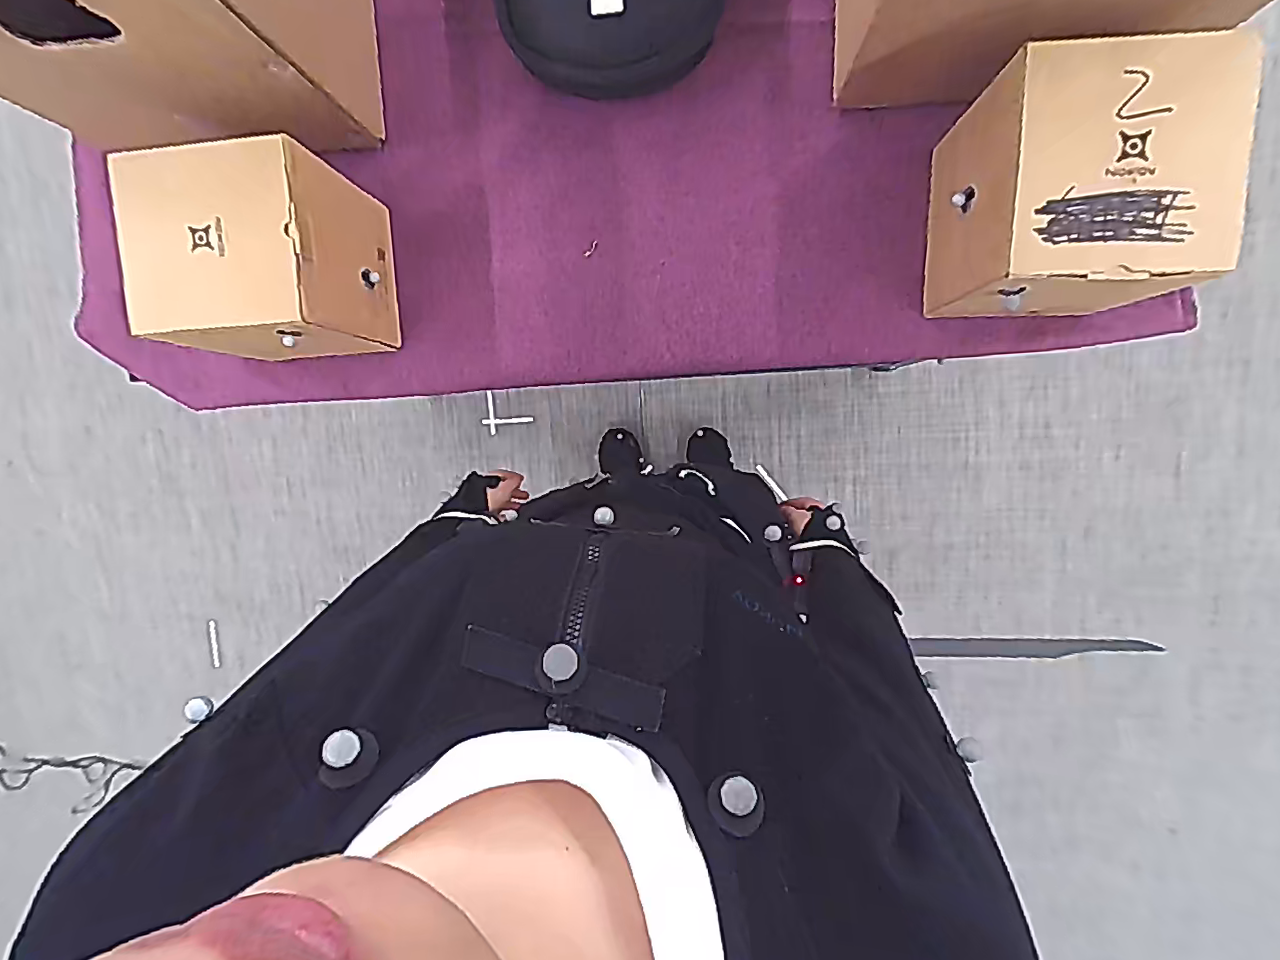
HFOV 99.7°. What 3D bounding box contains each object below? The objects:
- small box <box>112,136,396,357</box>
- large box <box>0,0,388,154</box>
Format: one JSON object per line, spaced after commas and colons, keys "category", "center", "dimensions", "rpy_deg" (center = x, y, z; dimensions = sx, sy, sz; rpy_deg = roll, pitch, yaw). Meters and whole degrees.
{"category": "small box", "center": [-0.393, -0.230, 0.579], "dimensions": [0.179, 0.176, 0.168], "rpy_deg": [-4, 95, 5]}
{"category": "large box", "center": [-0.465, -0.564, 0.477], "dimensions": [0.320, 0.320, 0.408], "rpy_deg": [-2, 98, 4]}
